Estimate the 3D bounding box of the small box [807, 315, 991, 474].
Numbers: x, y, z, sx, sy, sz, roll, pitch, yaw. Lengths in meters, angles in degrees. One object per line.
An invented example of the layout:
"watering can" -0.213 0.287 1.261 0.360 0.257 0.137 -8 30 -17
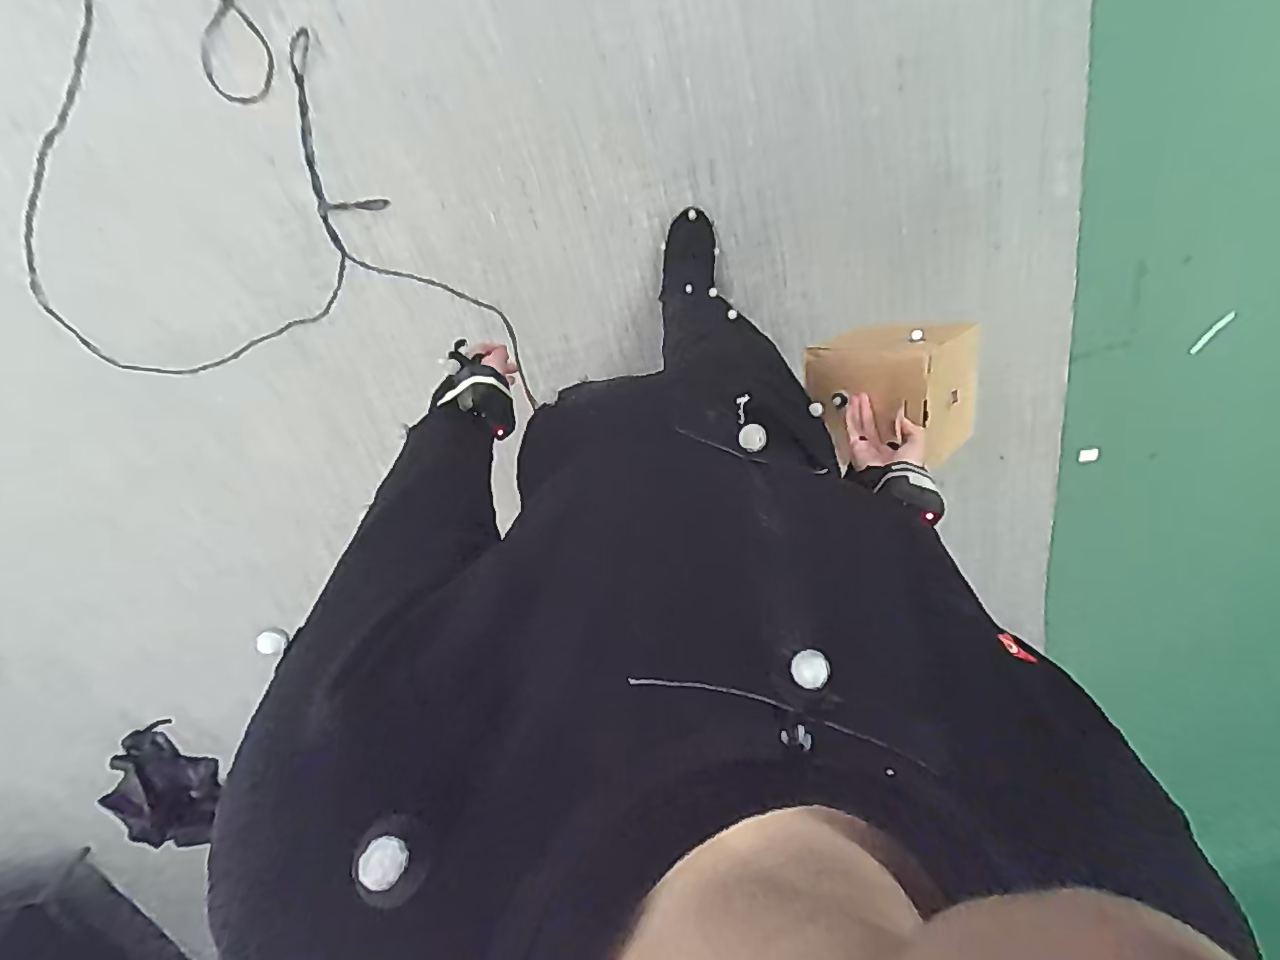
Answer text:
"small box" 0.347 -0.127 0.736 0.179 0.176 0.168 -28 120 -36
